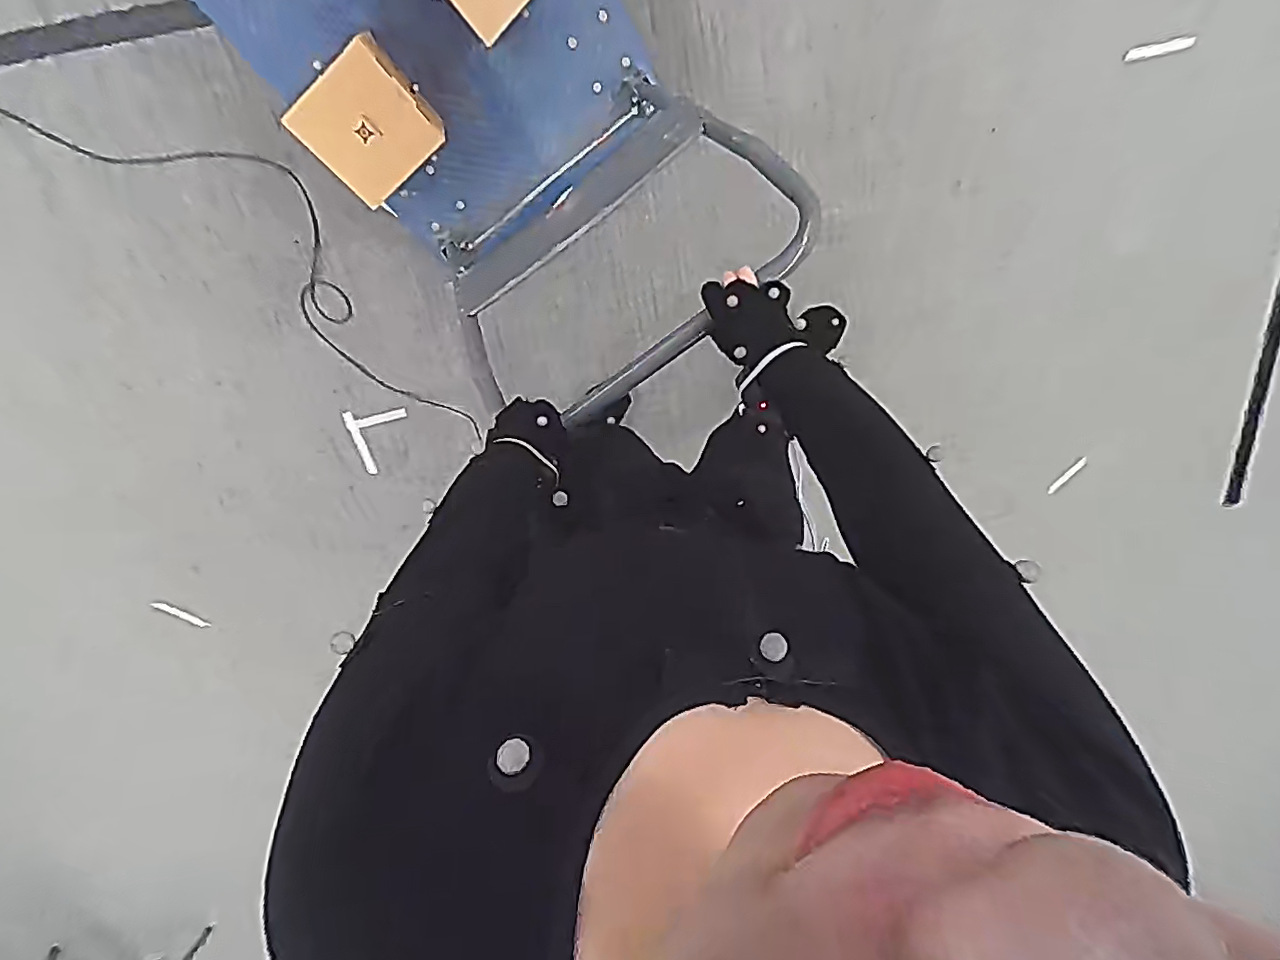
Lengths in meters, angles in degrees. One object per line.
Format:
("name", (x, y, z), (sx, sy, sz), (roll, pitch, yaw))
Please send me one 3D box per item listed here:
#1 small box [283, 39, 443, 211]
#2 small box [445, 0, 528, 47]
("small box", (-0.456, -0.600, 0.916), (0.179, 0.176, 0.168), (-38, 133, 11))
("small box", (-0.241, -0.805, 0.816), (0.179, 0.176, 0.168), (-39, 133, 15))
